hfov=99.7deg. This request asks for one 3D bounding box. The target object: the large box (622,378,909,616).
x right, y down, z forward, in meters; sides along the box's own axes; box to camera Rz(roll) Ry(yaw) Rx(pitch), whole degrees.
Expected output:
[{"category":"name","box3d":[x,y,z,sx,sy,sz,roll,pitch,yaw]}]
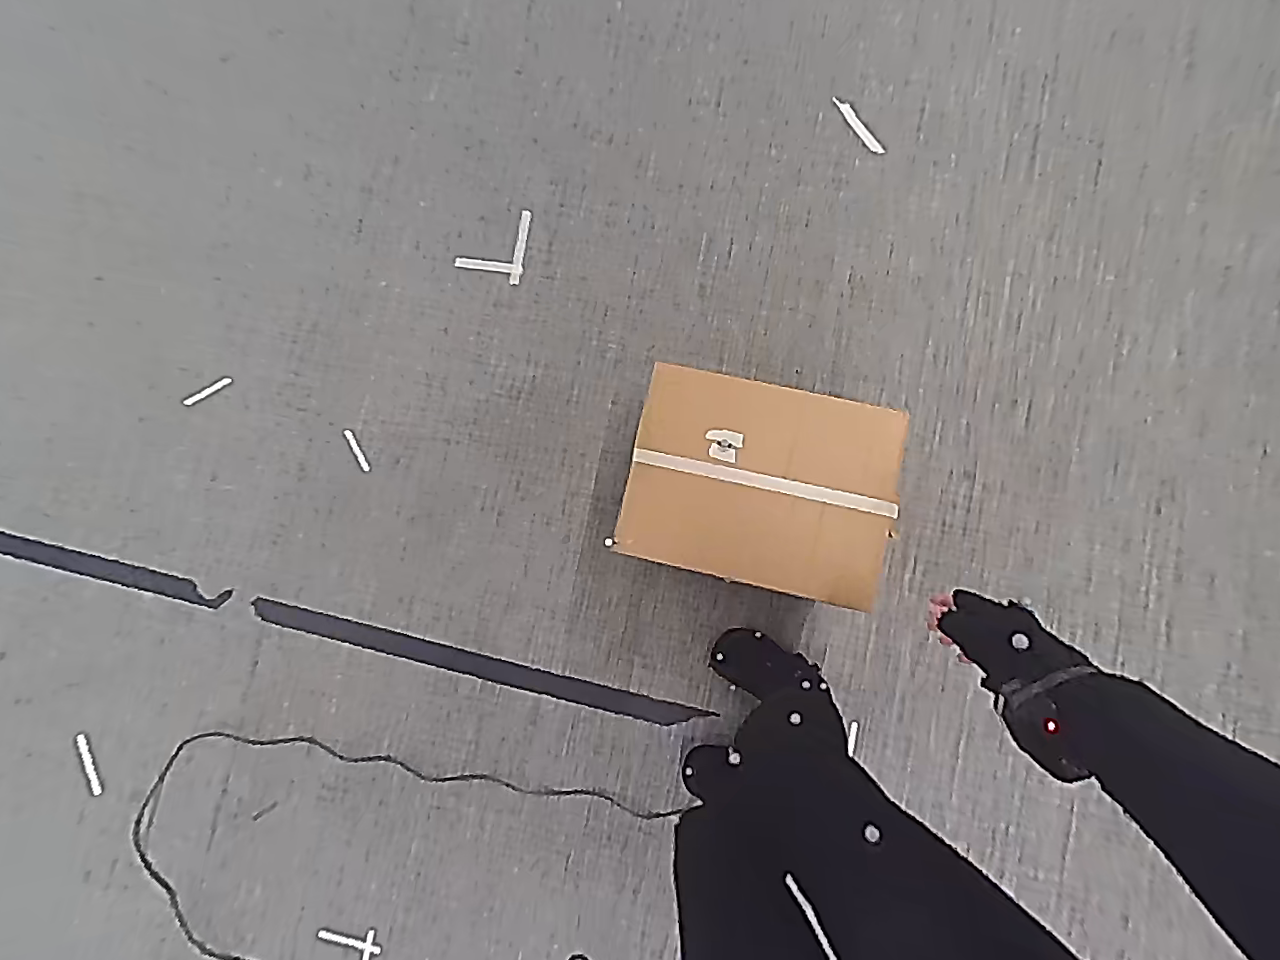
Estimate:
[{"category":"large box","box3d":[0.211,0.034,0.995,0.408,0.320,0.320,13,85,7]}]
